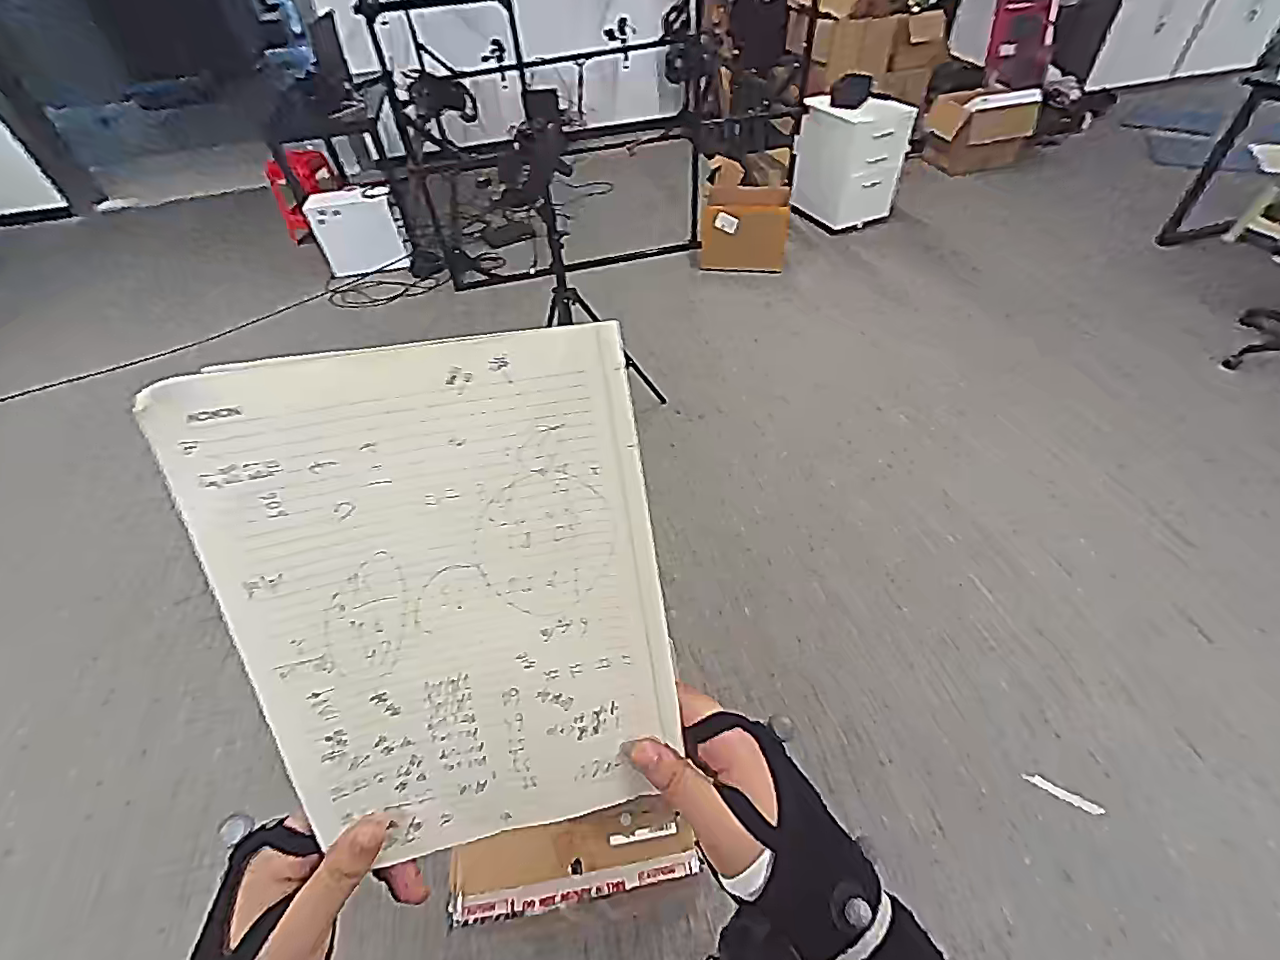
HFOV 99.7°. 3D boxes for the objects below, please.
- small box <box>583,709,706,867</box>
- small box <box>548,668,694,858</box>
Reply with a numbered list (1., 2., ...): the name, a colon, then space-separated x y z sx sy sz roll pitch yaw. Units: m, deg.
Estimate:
1. small box: -0.008 0.478 0.839 0.179 0.176 0.168 -9 49 -6
2. small box: -0.030 0.373 0.712 0.168 0.176 0.179 -6 49 -4
